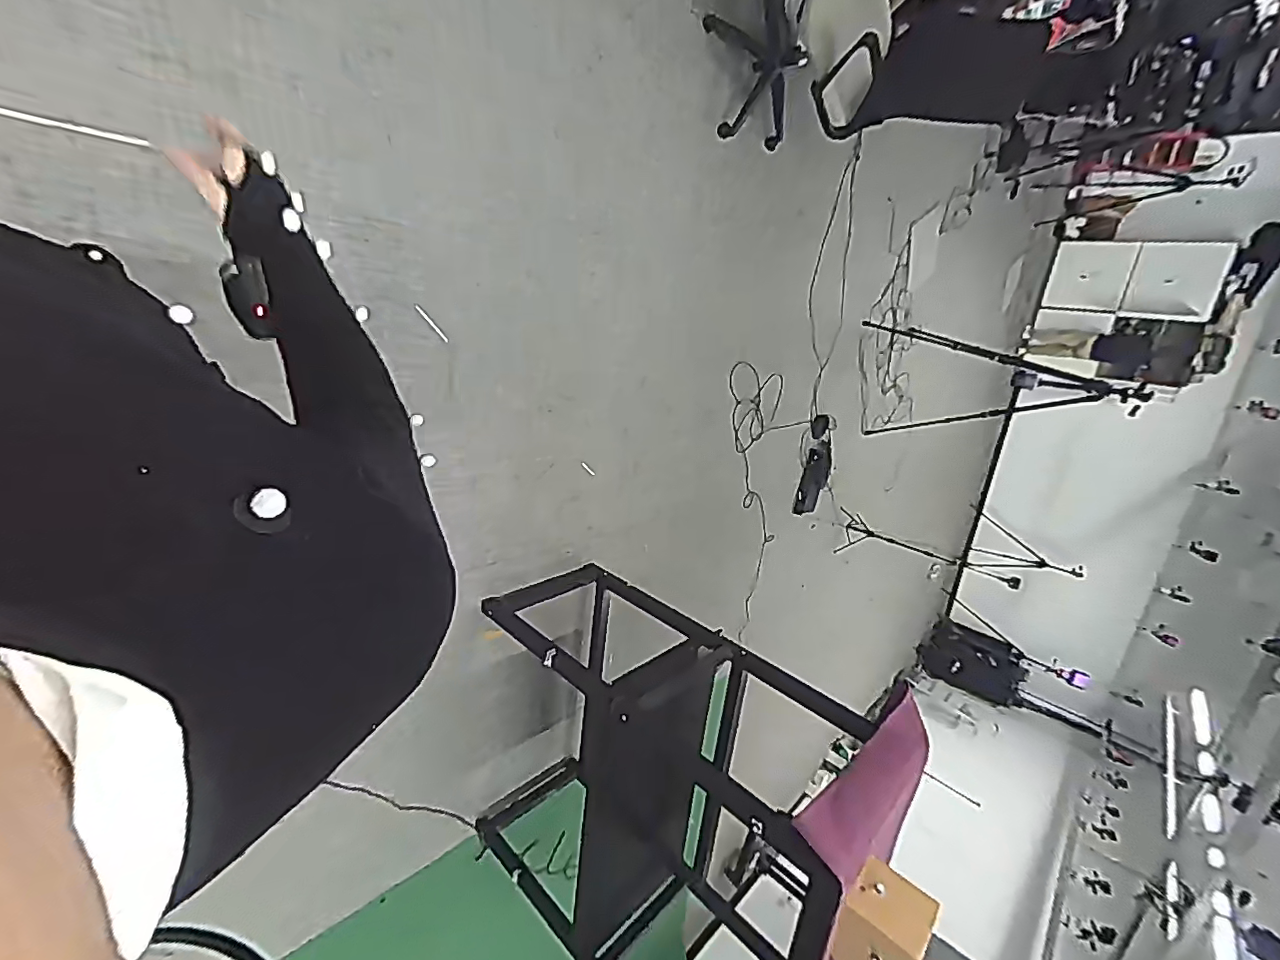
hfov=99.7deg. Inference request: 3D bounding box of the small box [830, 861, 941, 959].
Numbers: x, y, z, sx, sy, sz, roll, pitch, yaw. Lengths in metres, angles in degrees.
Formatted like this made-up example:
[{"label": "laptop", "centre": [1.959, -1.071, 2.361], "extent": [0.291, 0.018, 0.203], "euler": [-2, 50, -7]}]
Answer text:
[{"label": "small box", "centre": [0.560, 1.041, 1.244], "extent": [0.168, 0.176, 0.179], "euler": [-13, 116, -45]}]
